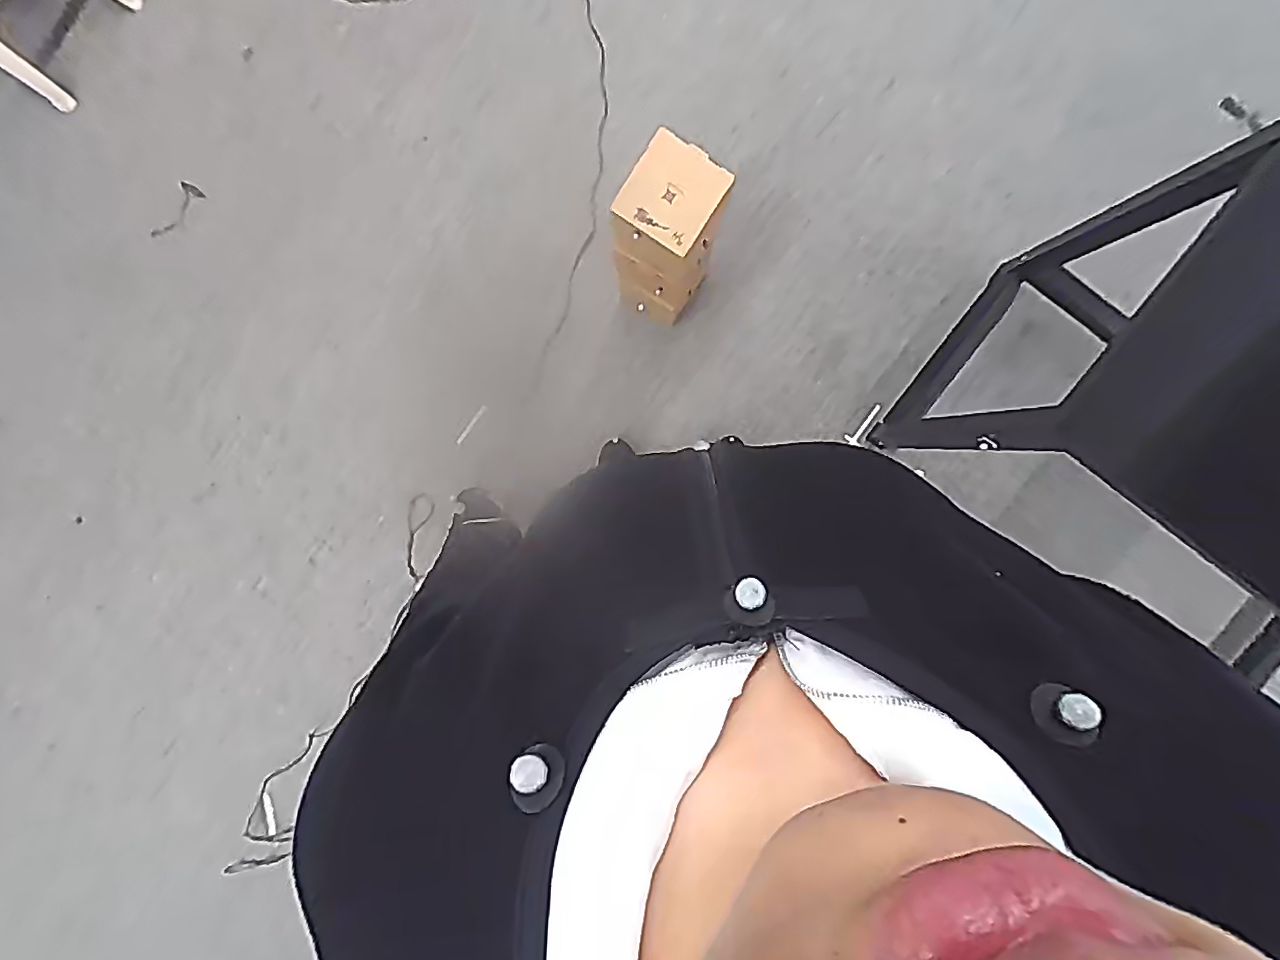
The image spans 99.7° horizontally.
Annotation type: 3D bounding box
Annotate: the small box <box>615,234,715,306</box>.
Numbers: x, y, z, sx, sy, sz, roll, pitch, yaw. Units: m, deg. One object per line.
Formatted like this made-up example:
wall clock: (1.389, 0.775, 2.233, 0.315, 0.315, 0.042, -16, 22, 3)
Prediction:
small box: (0.061, -0.524, 1.228, 0.168, 0.176, 0.179, 30, 92, -1)

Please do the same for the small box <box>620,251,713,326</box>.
small box: (0.065, -0.527, 1.390, 0.168, 0.176, 0.179, 34, 94, 0)

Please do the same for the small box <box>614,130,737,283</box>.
small box: (0.063, -0.524, 1.063, 0.168, 0.176, 0.179, 33, 93, 0)
